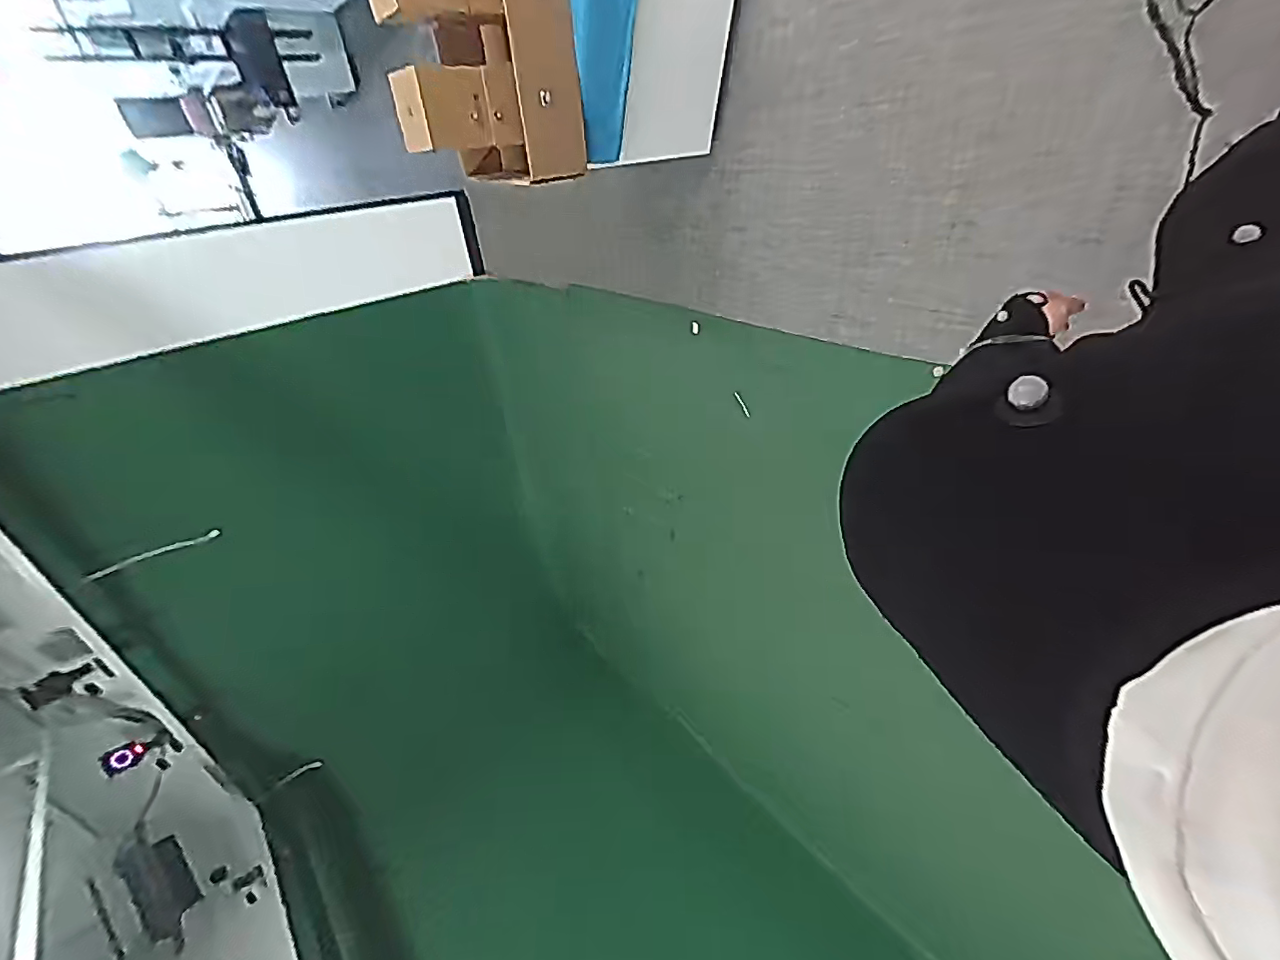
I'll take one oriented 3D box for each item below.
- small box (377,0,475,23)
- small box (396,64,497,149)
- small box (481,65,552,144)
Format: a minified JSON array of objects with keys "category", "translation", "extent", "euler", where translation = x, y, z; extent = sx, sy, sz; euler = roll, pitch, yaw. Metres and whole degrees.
[{"category":"small box","translation":[-0.495,-1.151,1.209],"extent":[0.168,0.176,0.179],"euler":[32,138,42]},{"category":"small box","translation":[-0.483,-0.932,1.358],"extent":[0.179,0.176,0.168],"euler":[31,136,41]},{"category":"small box","translation":[-0.353,-0.992,1.438],"extent":[0.179,0.176,0.168],"euler":[32,137,42]}]
